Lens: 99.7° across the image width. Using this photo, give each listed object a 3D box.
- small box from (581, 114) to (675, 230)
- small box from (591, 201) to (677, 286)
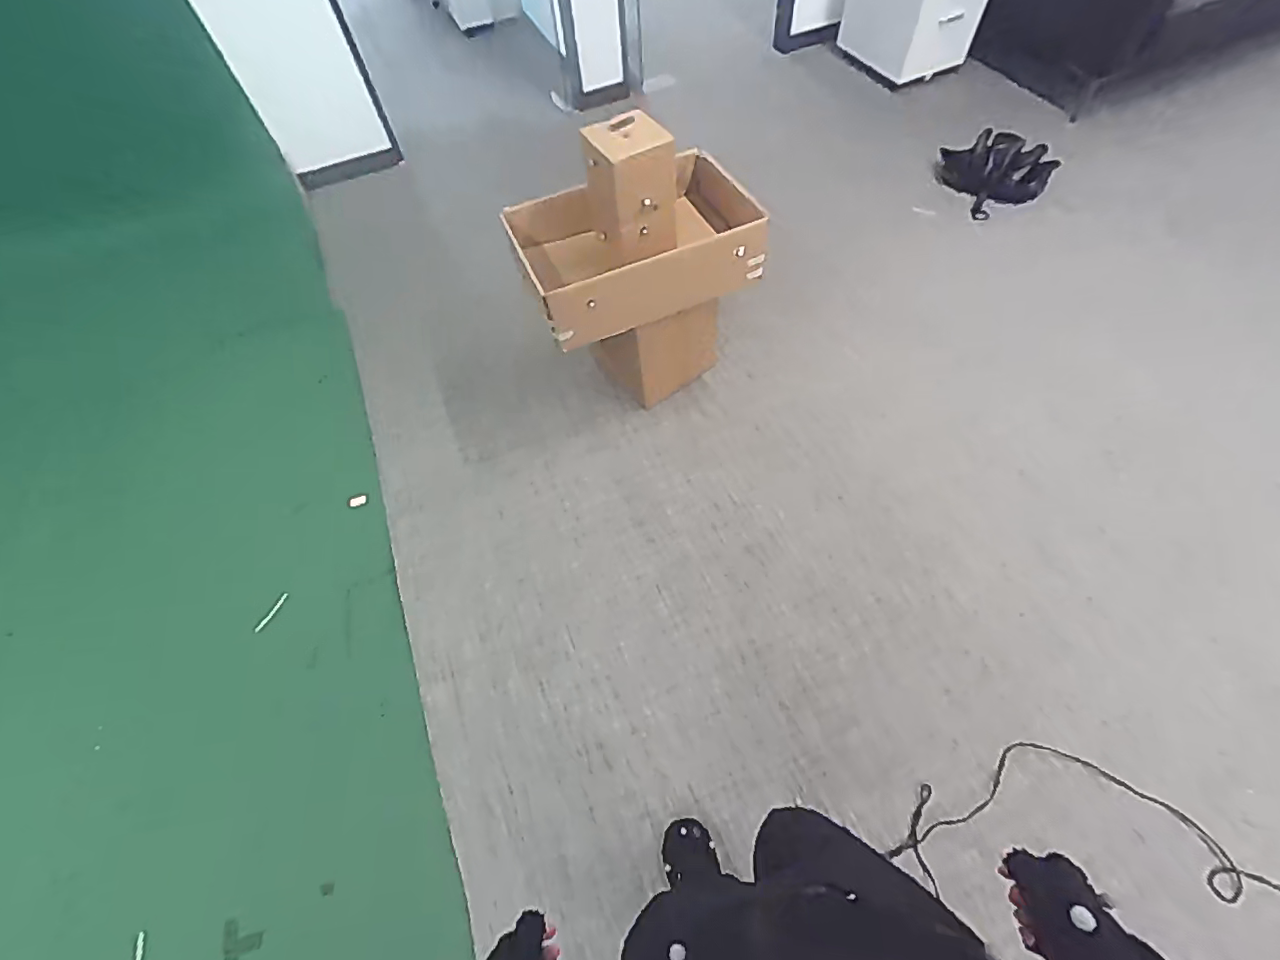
[{"bbox_3d":[-0.026,-0.751,1.325,0.168,0.176,0.179,-28,61,-11],"label":"small box"},{"bbox_3d":[-0.014,-0.663,1.463,0.168,0.176,0.179,-29,60,-11],"label":"small box"}]
